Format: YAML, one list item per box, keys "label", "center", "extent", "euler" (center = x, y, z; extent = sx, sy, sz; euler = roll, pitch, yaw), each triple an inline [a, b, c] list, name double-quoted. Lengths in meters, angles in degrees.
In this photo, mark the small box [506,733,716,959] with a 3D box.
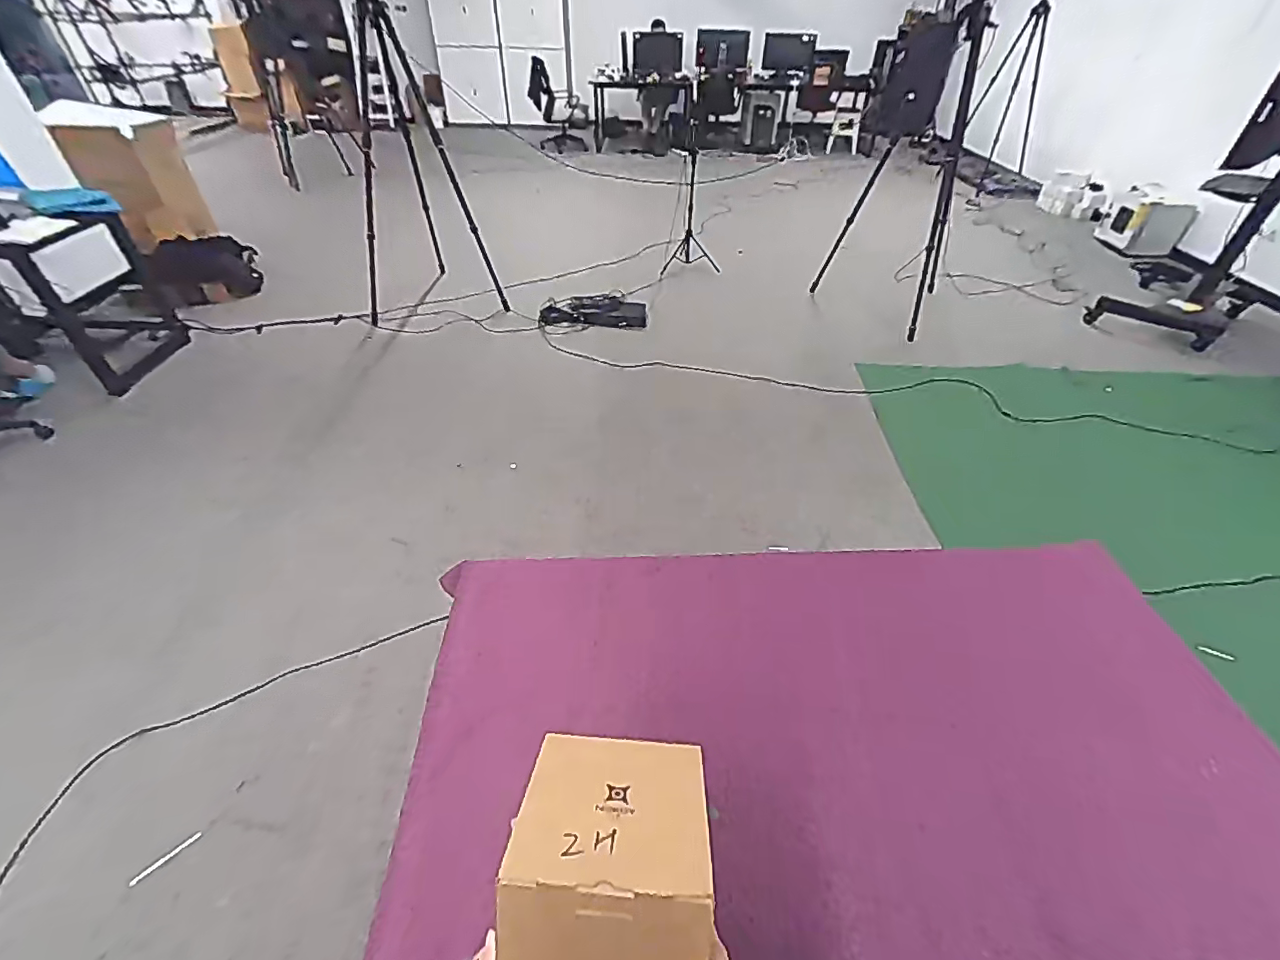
- label: "small box"
  center: [-0.023, 0.369, 0.503]
  extent: [0.168, 0.176, 0.179]
  euler: [3, 10, 3]
